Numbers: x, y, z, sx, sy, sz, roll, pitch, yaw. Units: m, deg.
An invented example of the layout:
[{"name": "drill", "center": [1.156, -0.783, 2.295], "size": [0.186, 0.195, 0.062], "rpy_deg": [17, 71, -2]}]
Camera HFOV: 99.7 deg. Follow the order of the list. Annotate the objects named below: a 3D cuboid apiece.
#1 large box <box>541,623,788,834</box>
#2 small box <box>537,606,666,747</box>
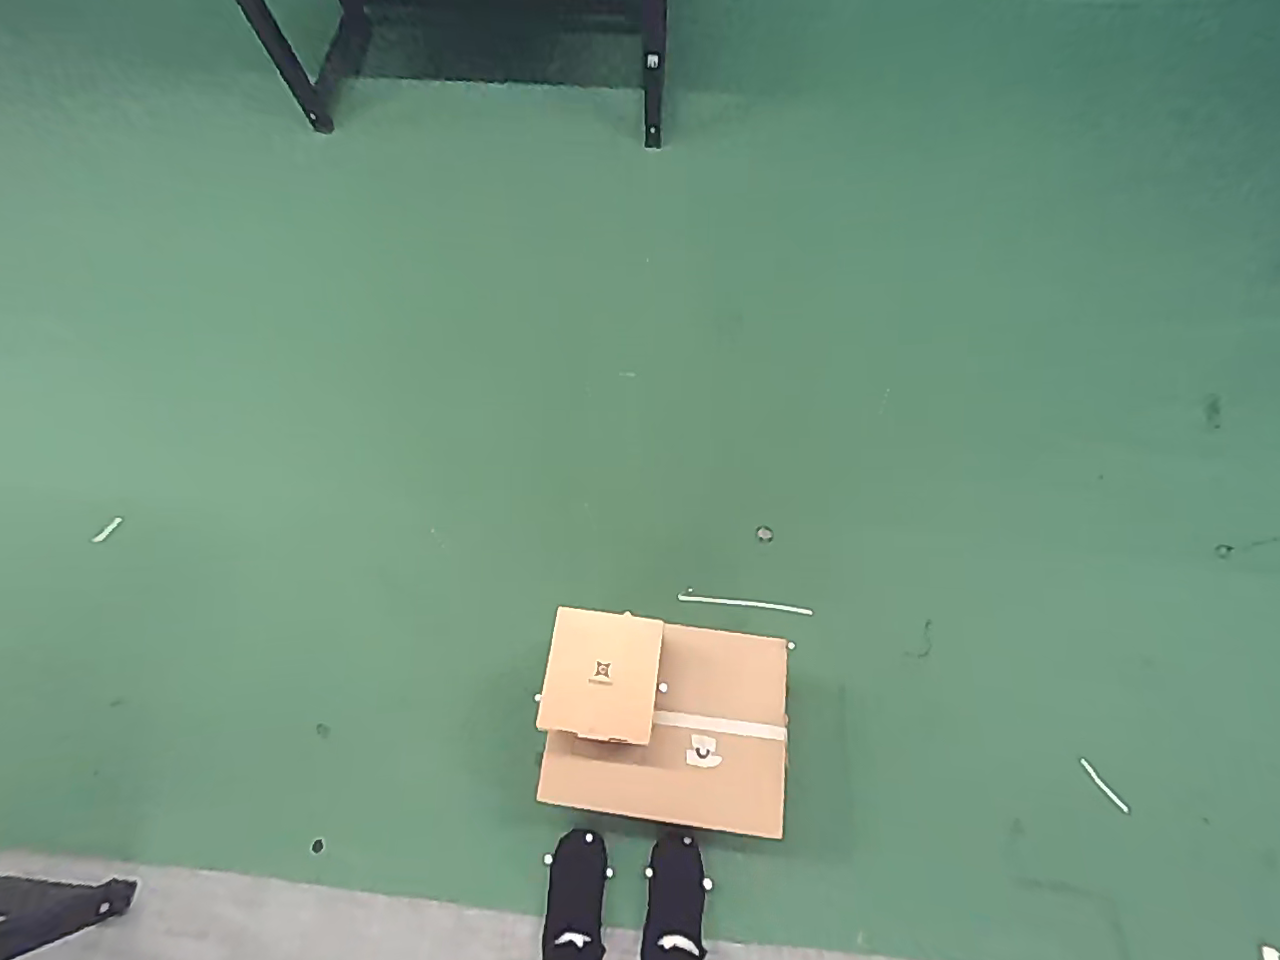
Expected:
[{"name": "large box", "center": [0.051, 0.457, 1.058], "size": [0.408, 0.320, 0.320], "rpy_deg": [6, 70, 3]}, {"name": "small box", "center": [-0.054, 0.310, 0.856], "size": [0.168, 0.176, 0.179], "rpy_deg": [7, 69, 3]}]
